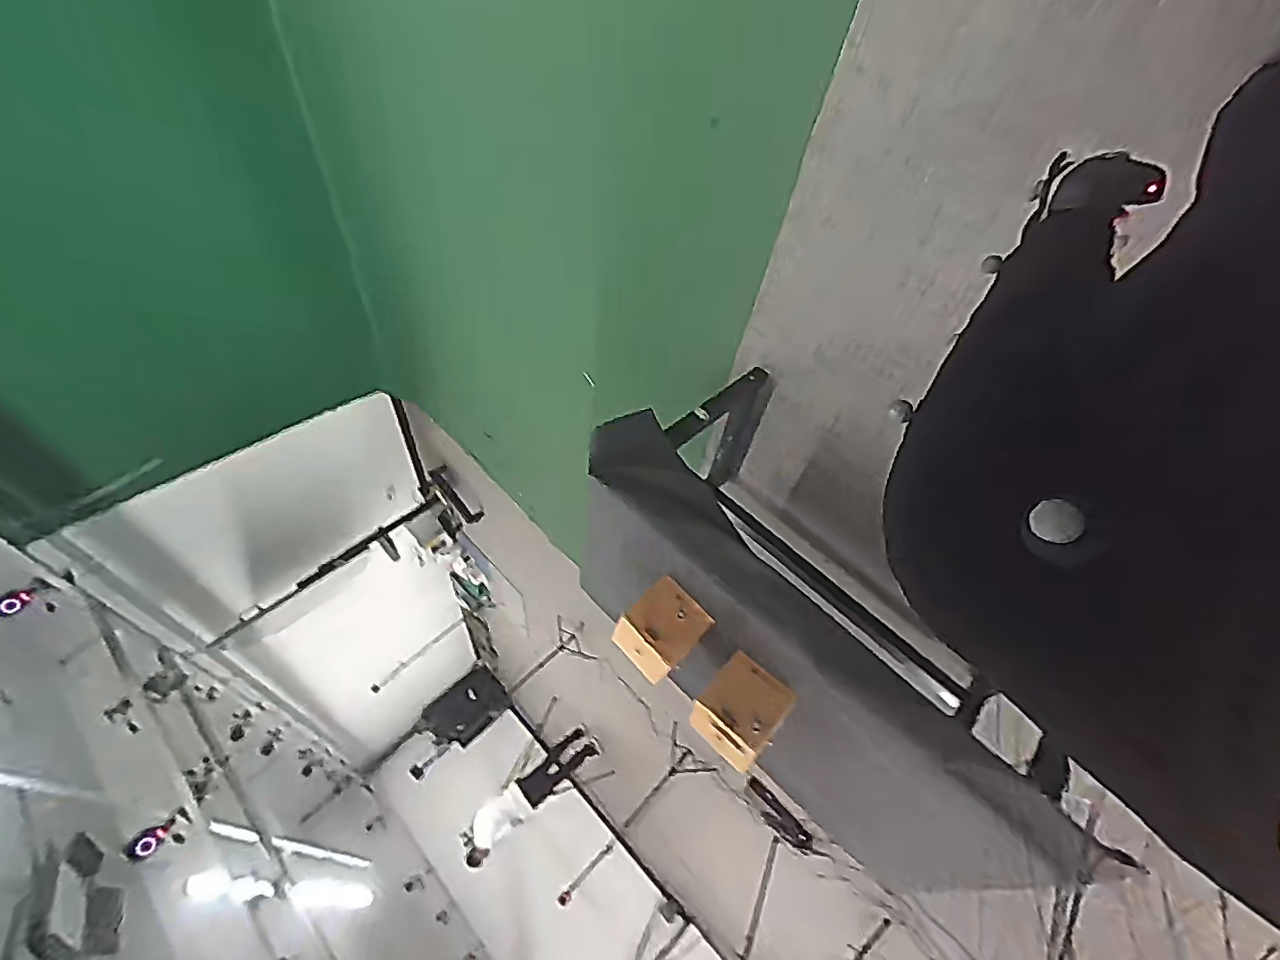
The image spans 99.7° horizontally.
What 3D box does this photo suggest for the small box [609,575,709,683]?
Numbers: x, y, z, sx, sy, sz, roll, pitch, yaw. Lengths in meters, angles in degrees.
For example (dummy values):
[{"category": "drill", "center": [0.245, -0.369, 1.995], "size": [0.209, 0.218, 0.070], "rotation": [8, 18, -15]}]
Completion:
[{"category": "small box", "center": [0.048, 0.374, 1.362], "size": [0.168, 0.176, 0.179], "rotation": [44, 147, 17]}]
